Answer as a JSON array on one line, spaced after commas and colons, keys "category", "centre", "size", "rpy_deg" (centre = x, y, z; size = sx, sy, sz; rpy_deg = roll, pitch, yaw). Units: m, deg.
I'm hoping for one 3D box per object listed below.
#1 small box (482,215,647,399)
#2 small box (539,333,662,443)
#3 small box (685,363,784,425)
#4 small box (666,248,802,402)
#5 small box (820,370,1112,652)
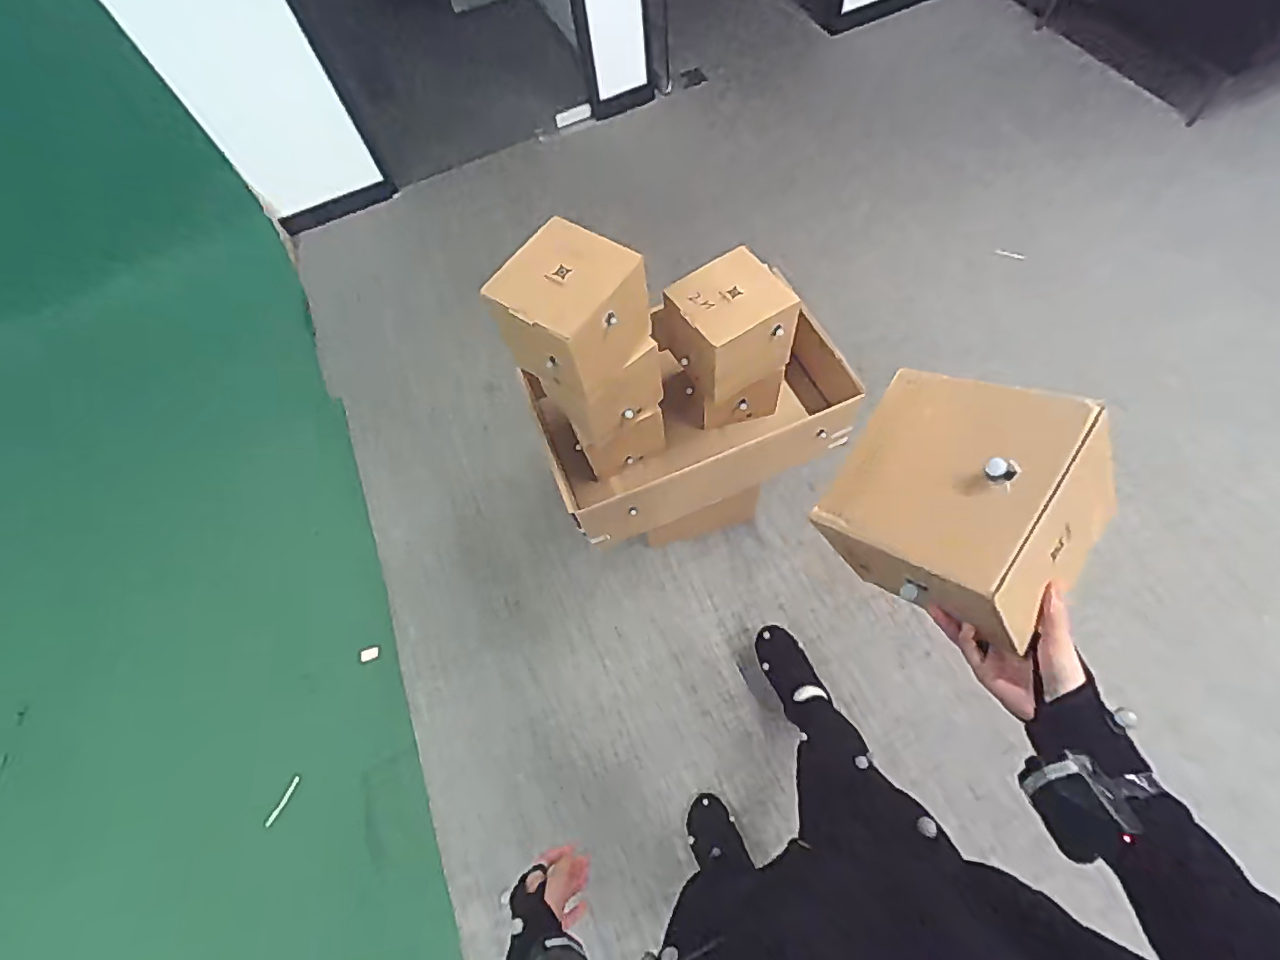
[{"category": "small box", "centre": [-0.101, -0.256, 0.825], "size": [0.168, 0.176, 0.179], "rpy_deg": [33, 72, 18]}, {"category": "small box", "centre": [-0.078, -0.200, 0.977], "size": [0.168, 0.176, 0.179], "rpy_deg": [-38, 67, -11]}, {"category": "small box", "centre": [0.192, -0.234, 1.148], "size": [0.168, 0.176, 0.179], "rpy_deg": [-13, 64, -1]}, {"category": "small box", "centre": [0.164, -0.278, 0.988], "size": [0.179, 0.176, 0.168], "rpy_deg": [-30, 64, -7]}, {"category": "small box", "centre": [0.293, 0.021, 0.502], "size": [0.176, 0.168, 0.179], "rpy_deg": [26, 79, 50]}]
